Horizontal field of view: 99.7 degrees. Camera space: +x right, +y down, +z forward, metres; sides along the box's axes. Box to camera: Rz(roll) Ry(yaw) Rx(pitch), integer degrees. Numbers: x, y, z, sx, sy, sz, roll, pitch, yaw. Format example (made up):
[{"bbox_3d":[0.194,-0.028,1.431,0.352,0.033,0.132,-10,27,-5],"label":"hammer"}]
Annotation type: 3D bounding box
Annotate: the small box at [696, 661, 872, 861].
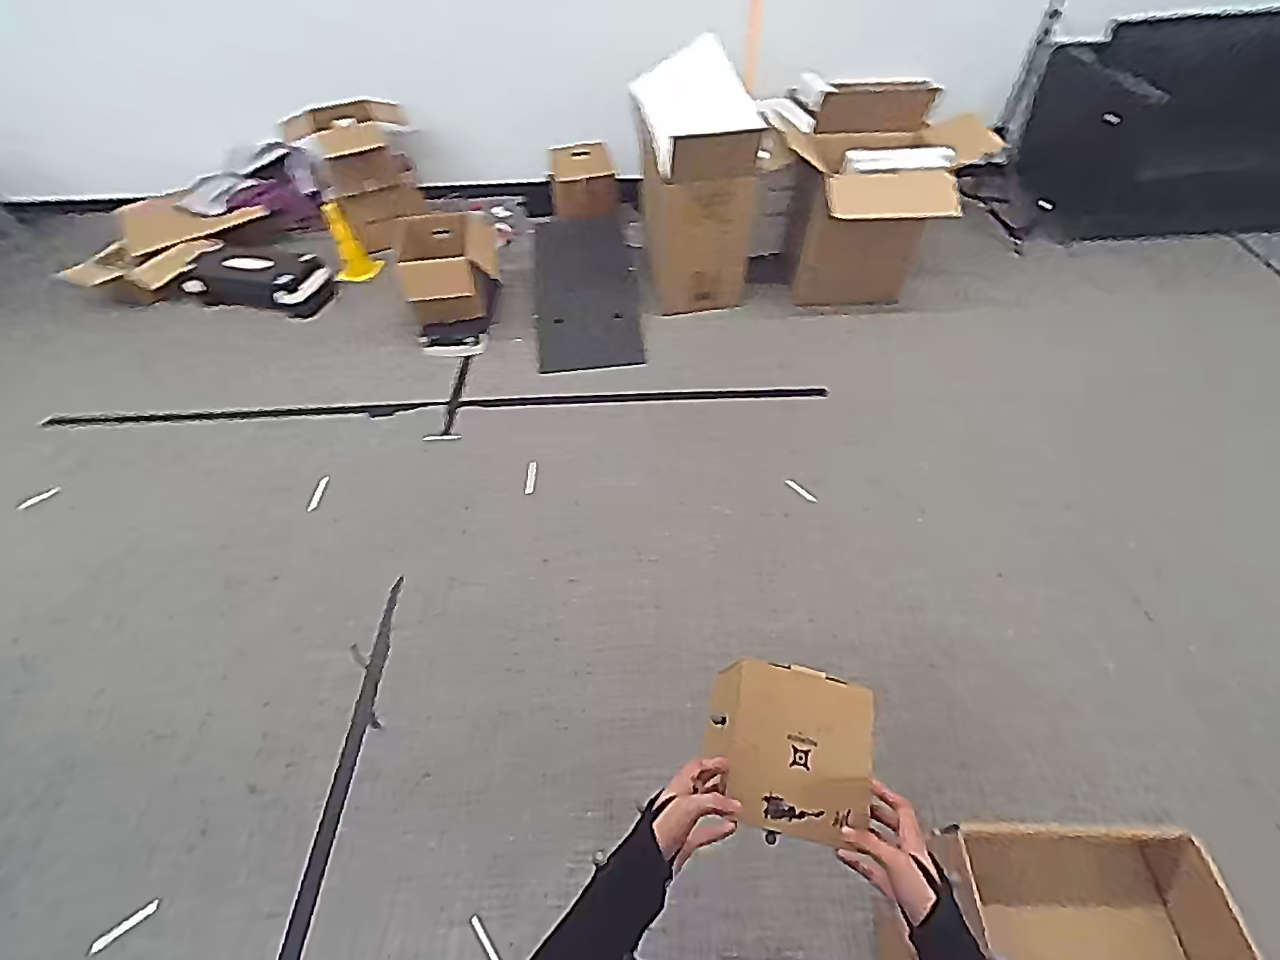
[{"bbox_3d":[0.175,0.349,0.688,0.168,0.176,0.179,14,63,1],"label":"small box"}]
